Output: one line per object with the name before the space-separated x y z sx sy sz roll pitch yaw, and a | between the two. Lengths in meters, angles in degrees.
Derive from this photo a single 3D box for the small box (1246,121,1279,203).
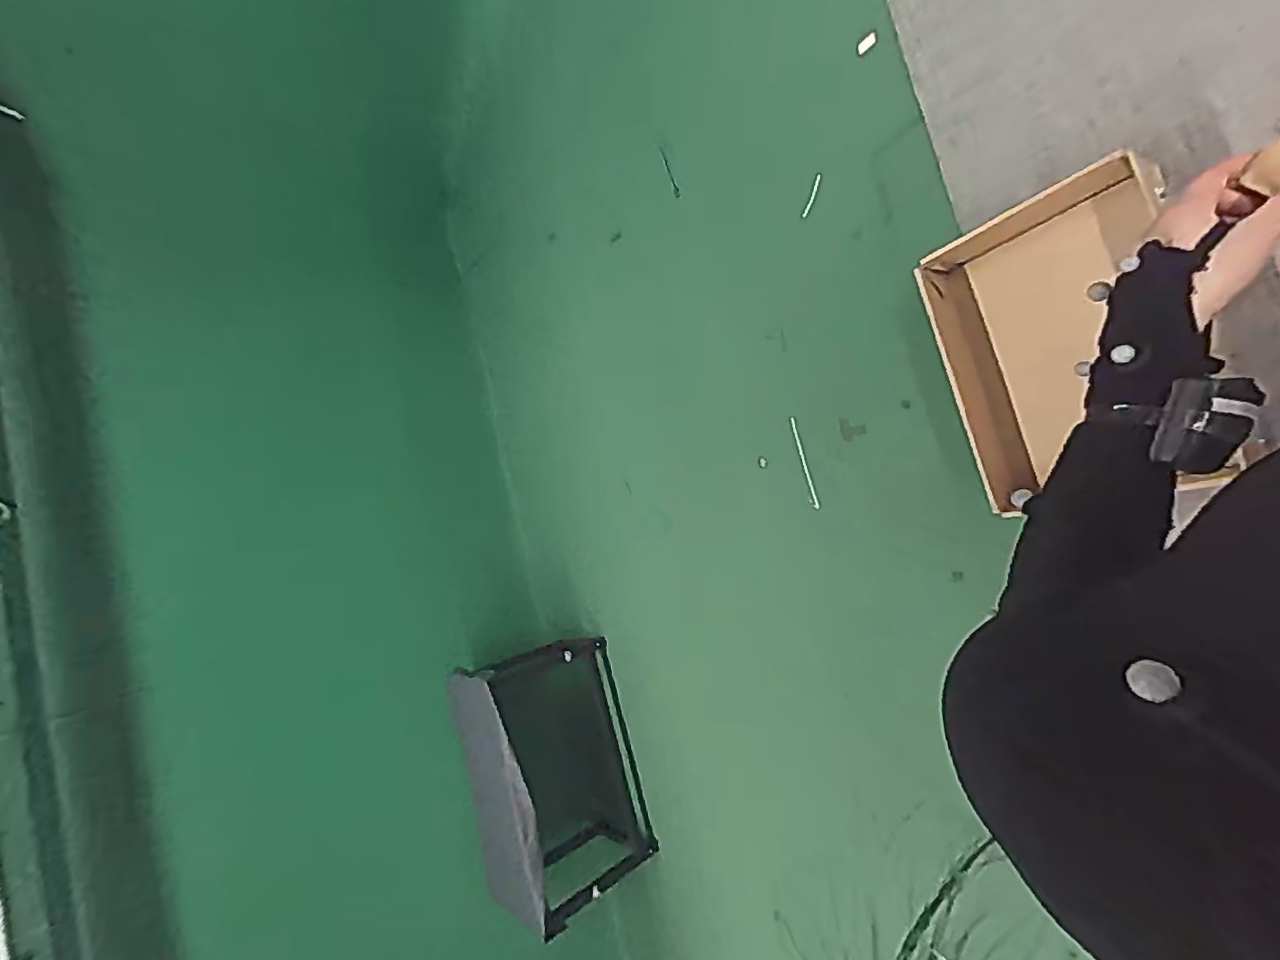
small box | 0.564 -0.242 0.344 0.179 0.176 0.168 48 135 28
